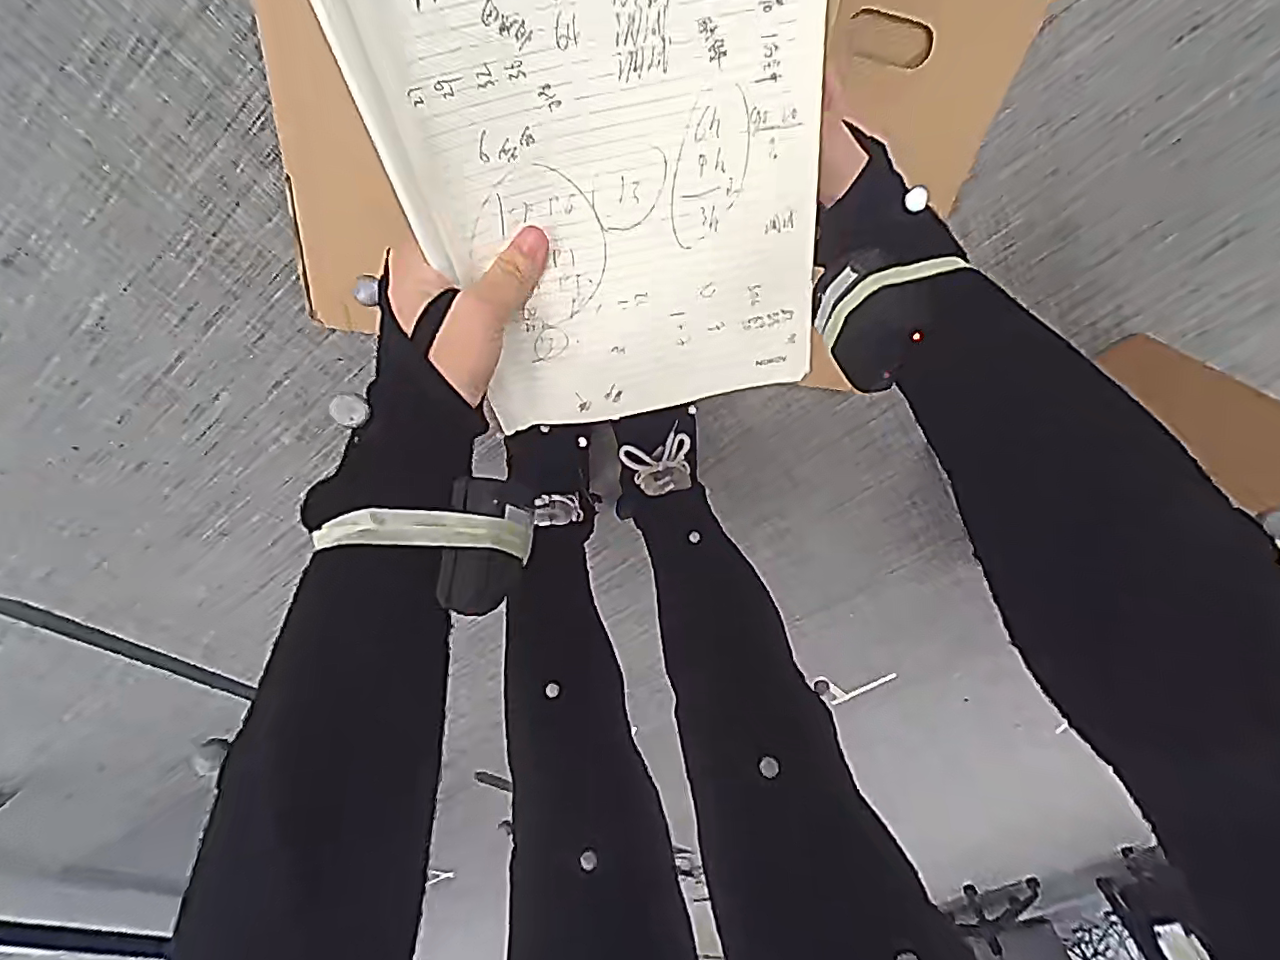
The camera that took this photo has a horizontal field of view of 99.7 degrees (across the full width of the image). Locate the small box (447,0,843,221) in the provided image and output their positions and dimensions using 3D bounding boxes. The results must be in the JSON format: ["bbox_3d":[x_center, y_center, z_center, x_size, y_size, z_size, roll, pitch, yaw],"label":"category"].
[{"bbox_3d":[-0.005,-0.253,0.279,0.168,0.176,0.179,-1,129,-9],"label":"small box"}]
